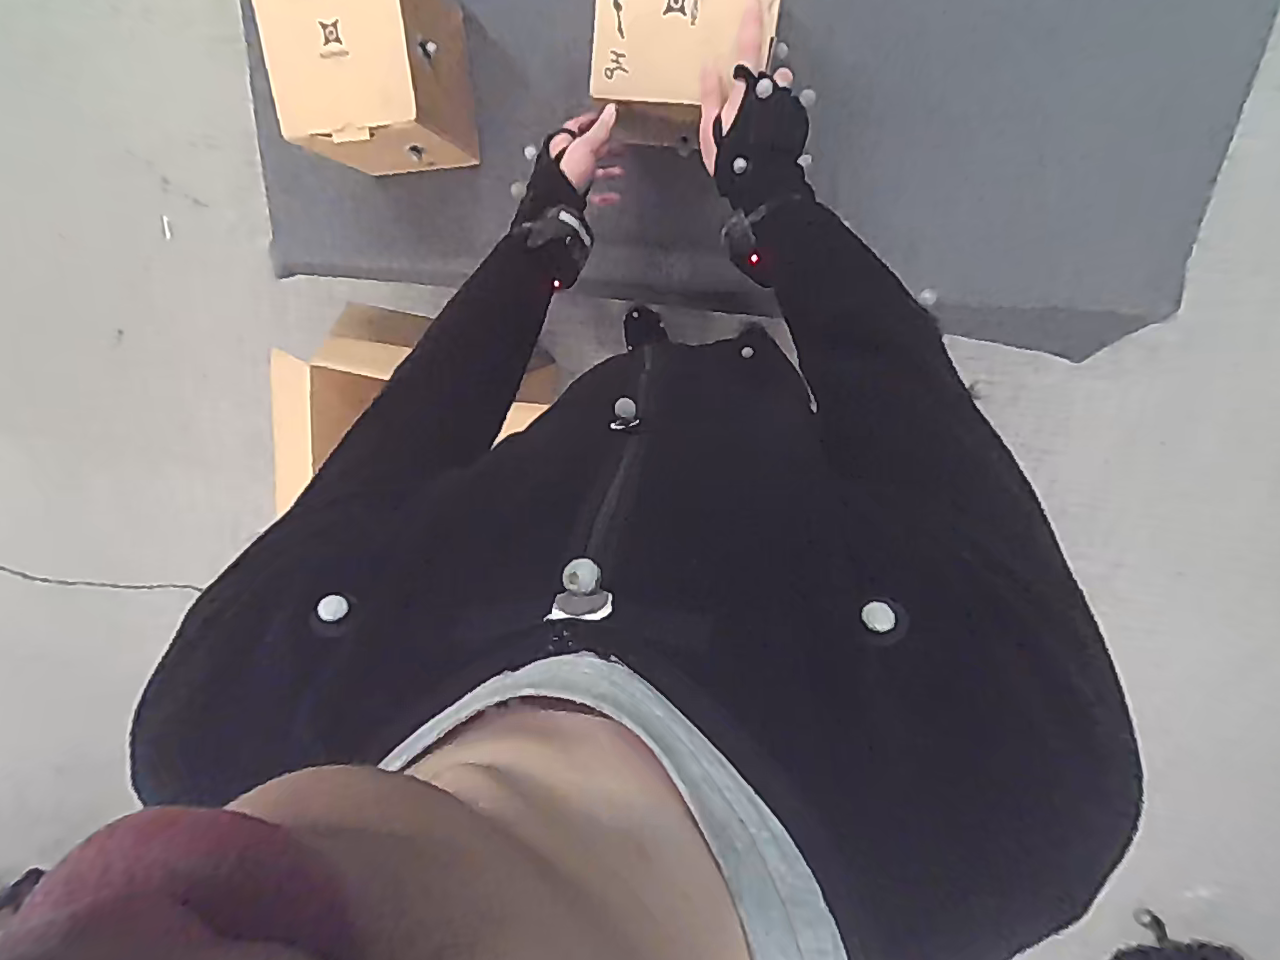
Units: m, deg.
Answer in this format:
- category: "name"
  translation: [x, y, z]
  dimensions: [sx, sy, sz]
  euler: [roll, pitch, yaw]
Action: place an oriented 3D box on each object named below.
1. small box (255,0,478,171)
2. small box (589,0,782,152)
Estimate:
- category: "small box"
  translation: [-0.310, -0.486, 0.645]
  dimensions: [0.168, 0.176, 0.179]
  euler: [-1, 105, 9]
- category: "small box"
  translation: [0.054, -0.472, 0.583]
  dimensions: [0.179, 0.176, 0.168]
  euler: [9, 108, 6]
